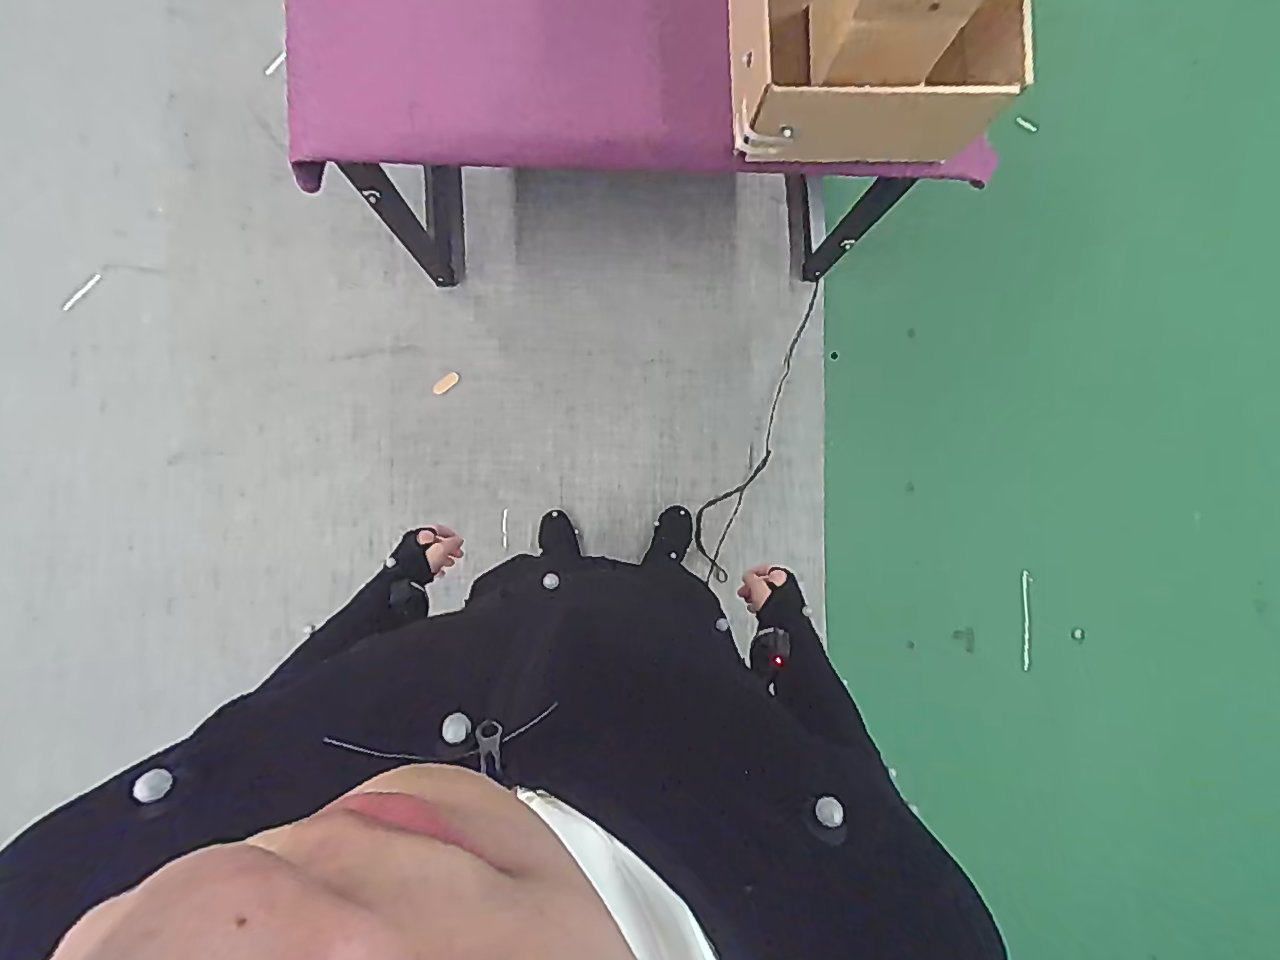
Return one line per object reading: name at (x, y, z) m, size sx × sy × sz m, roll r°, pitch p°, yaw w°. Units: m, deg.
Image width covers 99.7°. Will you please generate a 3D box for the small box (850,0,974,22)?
small box at (0.374, -0.725, 0.677) m, size 0.168 × 0.176 × 0.179 m, roll 0°, pitch 88°, yaw -3°
